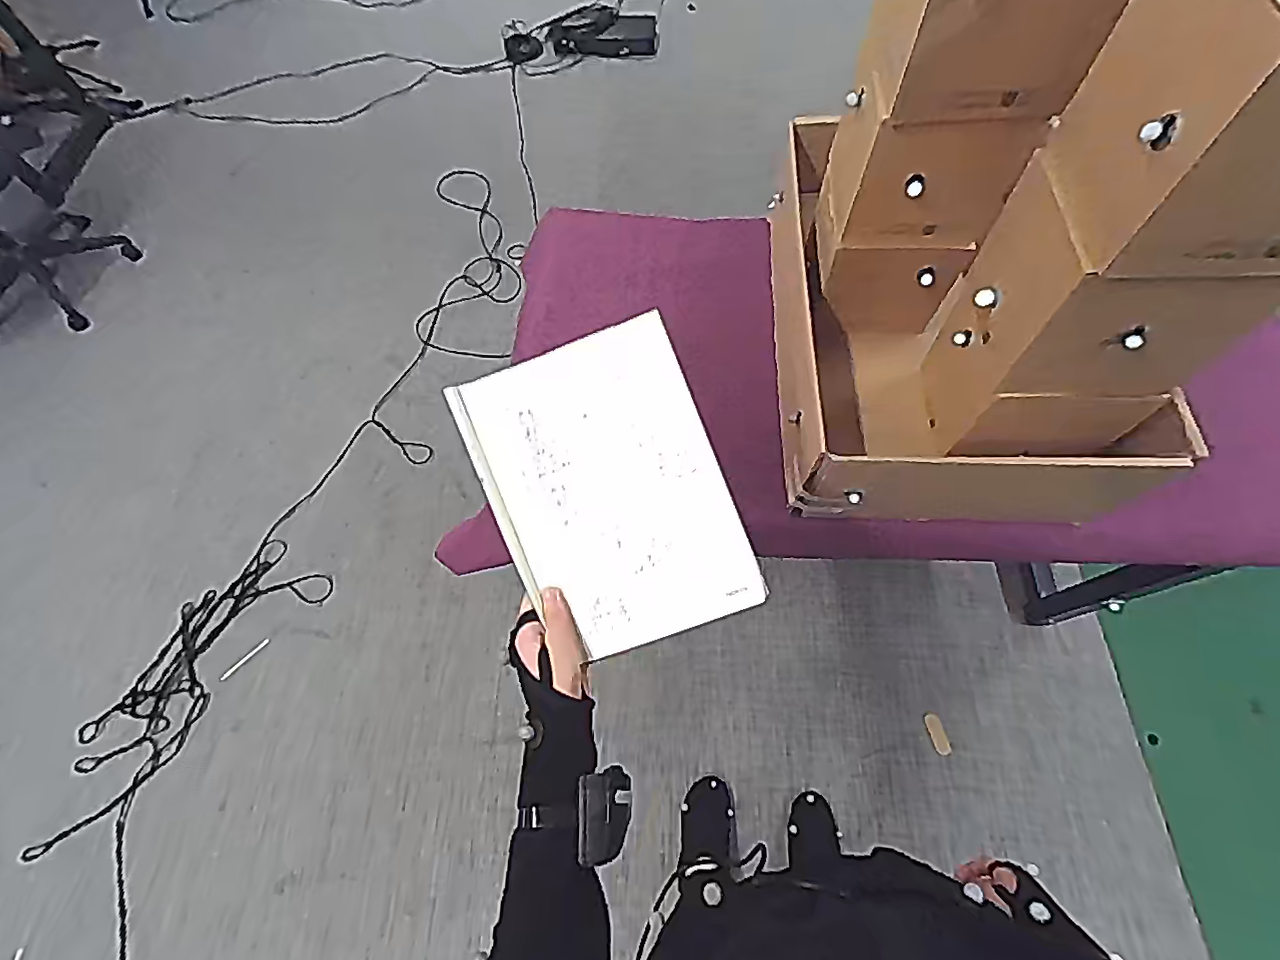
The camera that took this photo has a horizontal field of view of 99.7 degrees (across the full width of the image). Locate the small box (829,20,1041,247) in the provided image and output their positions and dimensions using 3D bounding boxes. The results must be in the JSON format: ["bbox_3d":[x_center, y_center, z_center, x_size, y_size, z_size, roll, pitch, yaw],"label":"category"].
[{"bbox_3d":[0.333,-0.404,0.651,0.168,0.176,0.179,2,66,6],"label":"small box"}]

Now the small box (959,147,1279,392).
[{"bbox_3d":[0.453,-0.200,0.534,0.179,0.176,0.168,1,63,8],"label":"small box"}]

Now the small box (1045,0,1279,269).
[{"bbox_3d":[0.440,-0.273,0.389,0.168,0.176,0.179,2,63,7],"label":"small box"}]
